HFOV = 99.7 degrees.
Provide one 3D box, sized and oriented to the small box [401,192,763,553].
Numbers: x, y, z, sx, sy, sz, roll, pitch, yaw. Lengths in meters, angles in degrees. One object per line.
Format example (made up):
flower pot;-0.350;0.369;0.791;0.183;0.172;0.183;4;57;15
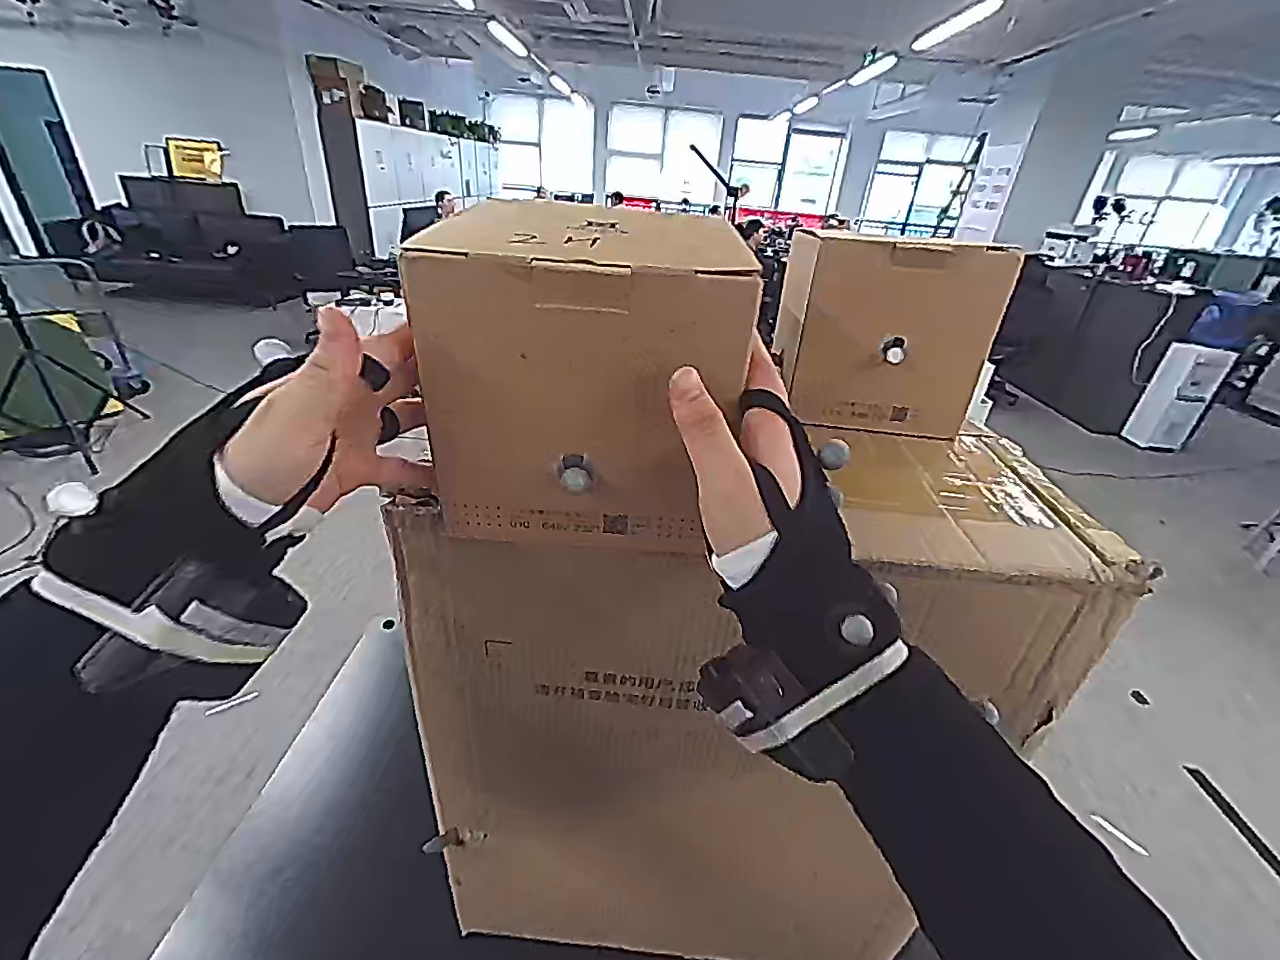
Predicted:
small box;-0.029;-0.076;0.351;0.168;0.176;0.179;3;35;-1
